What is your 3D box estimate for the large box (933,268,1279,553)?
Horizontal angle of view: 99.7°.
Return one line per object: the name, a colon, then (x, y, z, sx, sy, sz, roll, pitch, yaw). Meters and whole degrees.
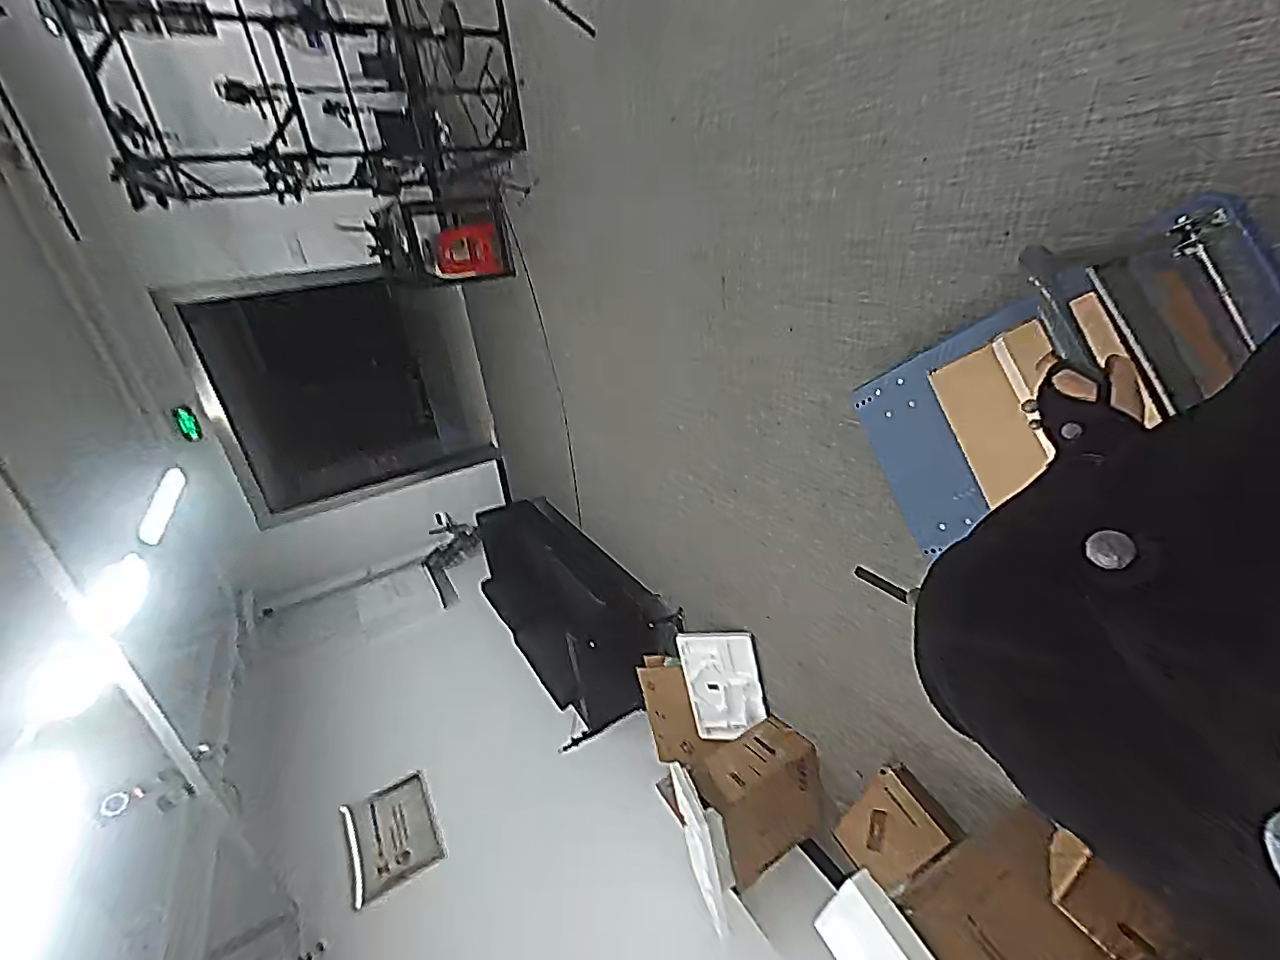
large box: (0.857, -0.120, 1.012, 0.320, 0.320, 0.408, -35, 75, 63)
